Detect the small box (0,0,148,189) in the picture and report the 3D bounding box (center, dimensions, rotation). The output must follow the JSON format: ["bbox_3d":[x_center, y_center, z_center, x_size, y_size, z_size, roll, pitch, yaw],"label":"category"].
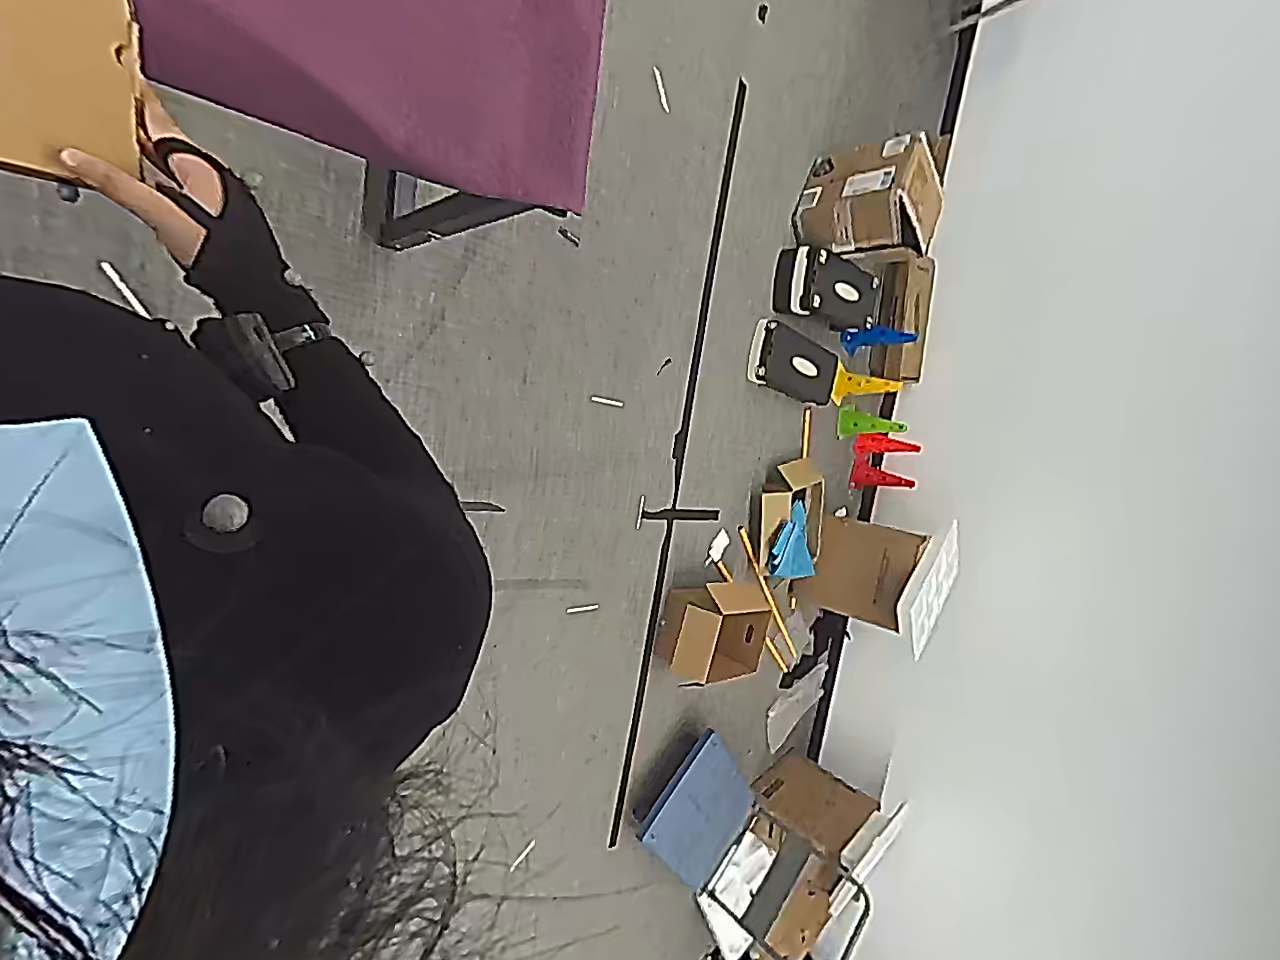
[{"bbox_3d":[-0.450,-0.303,0.356,0.179,0.176,0.168,-6,113,-45],"label":"small box"}]
